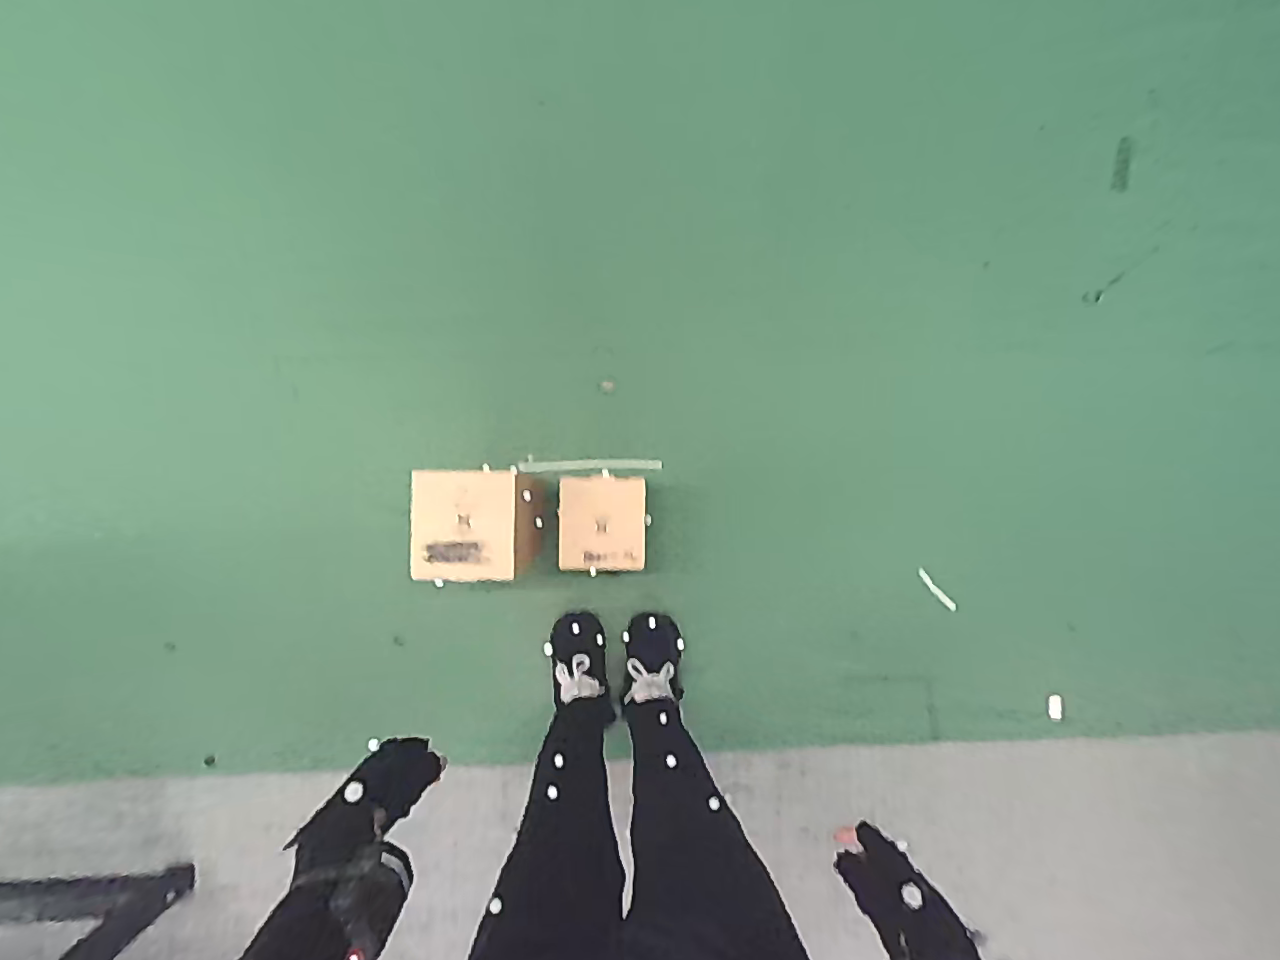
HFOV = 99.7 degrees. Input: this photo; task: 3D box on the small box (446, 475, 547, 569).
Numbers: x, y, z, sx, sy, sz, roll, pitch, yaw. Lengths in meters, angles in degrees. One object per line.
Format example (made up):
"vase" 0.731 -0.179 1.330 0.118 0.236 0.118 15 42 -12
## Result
"small box" -0.290 0.081 1.121 0.168 0.176 0.179 3 89 -1
